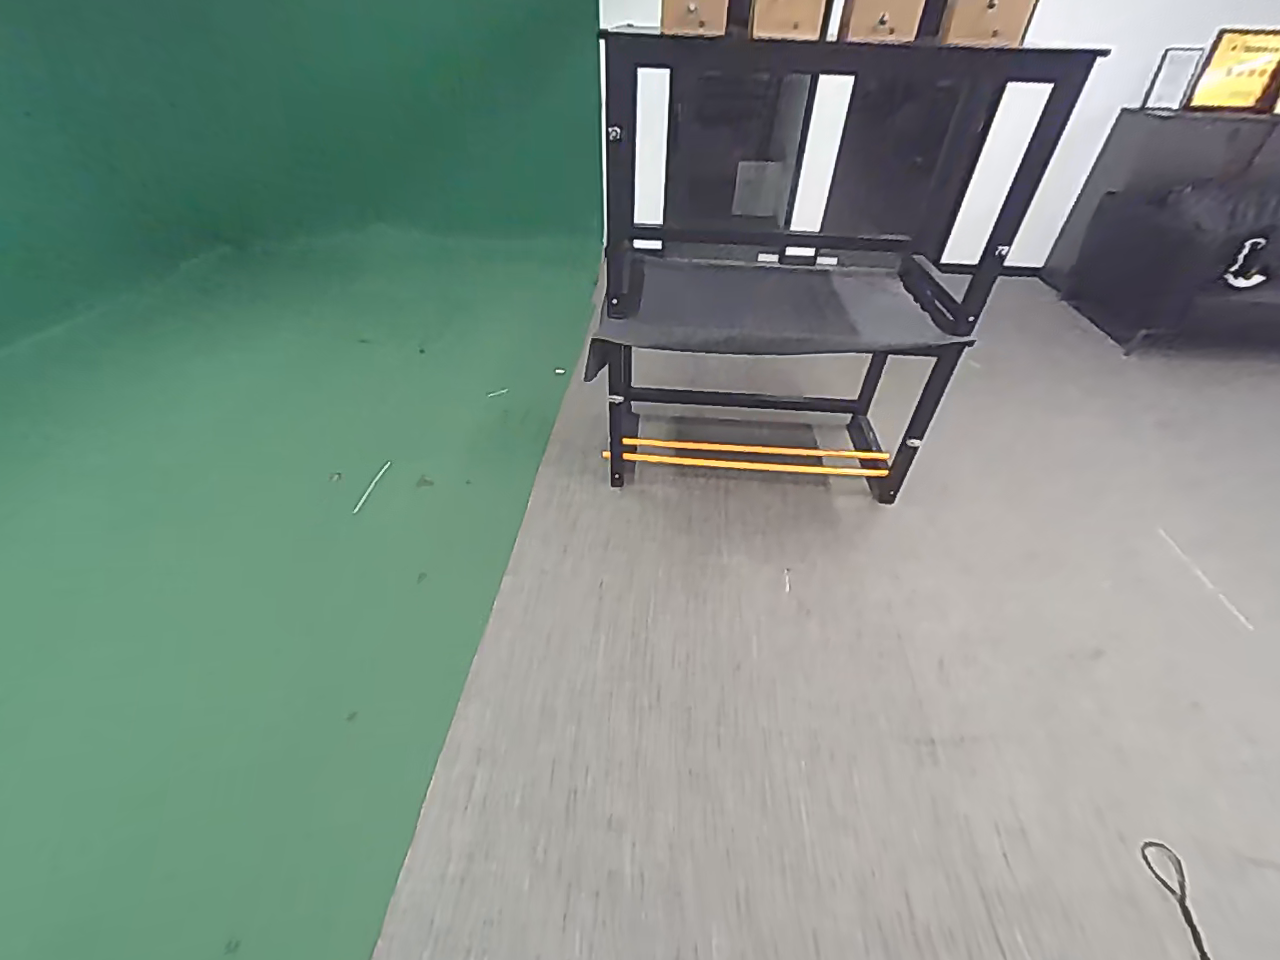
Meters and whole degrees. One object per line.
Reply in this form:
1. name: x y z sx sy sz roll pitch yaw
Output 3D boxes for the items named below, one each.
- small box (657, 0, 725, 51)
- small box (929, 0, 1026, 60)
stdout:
1. small box: 0.131 -1.229 1.399 0.168 0.176 0.179 3 41 1
2. small box: 0.851 -1.168 1.360 0.168 0.176 0.179 11 41 10
